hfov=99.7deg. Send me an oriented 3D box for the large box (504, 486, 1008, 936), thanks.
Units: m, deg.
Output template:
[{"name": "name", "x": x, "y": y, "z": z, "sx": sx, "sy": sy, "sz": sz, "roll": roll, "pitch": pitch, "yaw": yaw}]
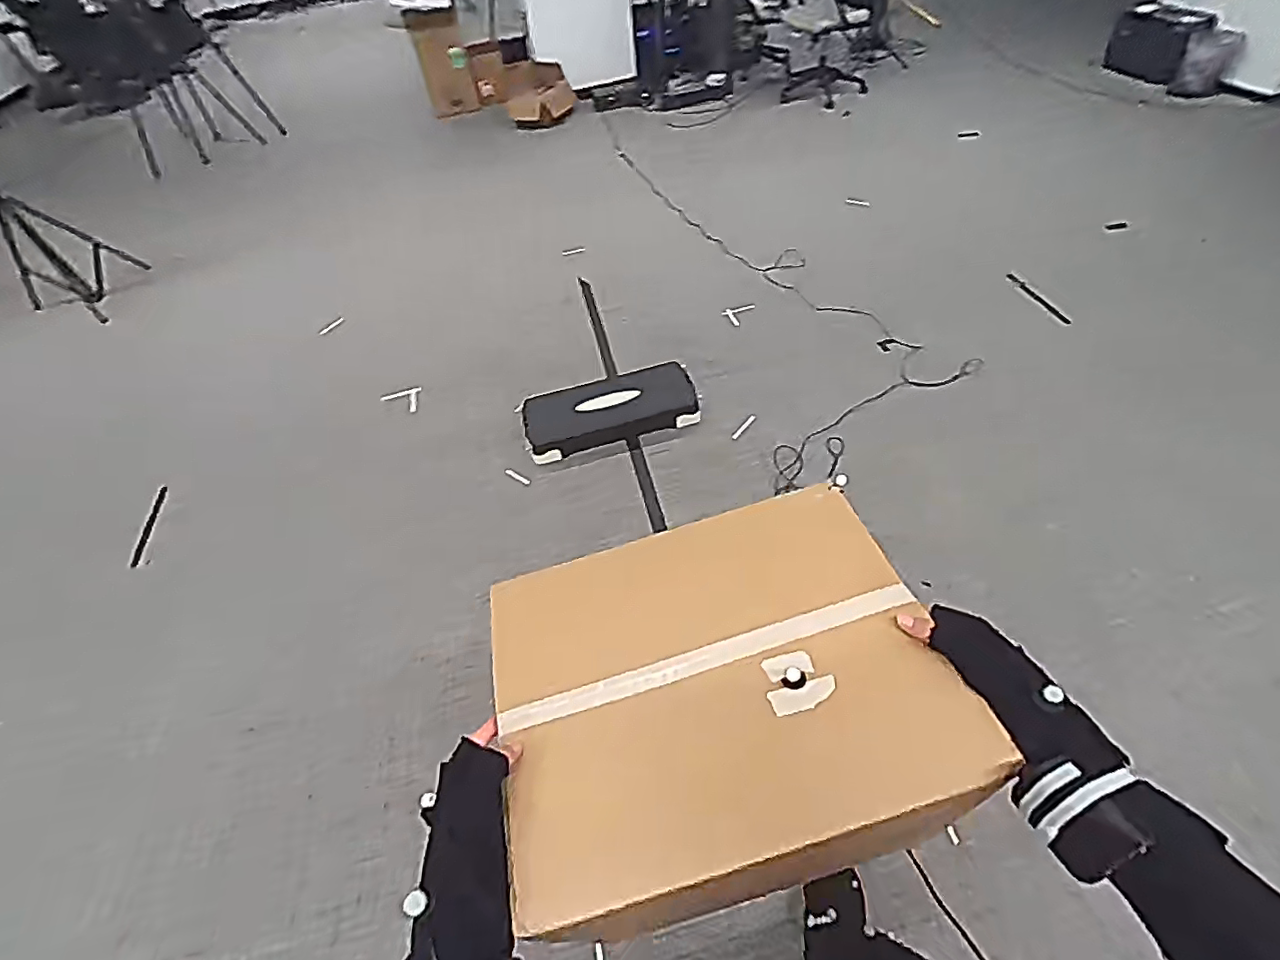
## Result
[{"name": "large box", "x": 0.094, "y": 0.267, "z": 0.626, "sx": 0.408, "sy": 0.320, "sz": 0.320, "roll": -17, "pitch": 48, "yaw": -1}]
